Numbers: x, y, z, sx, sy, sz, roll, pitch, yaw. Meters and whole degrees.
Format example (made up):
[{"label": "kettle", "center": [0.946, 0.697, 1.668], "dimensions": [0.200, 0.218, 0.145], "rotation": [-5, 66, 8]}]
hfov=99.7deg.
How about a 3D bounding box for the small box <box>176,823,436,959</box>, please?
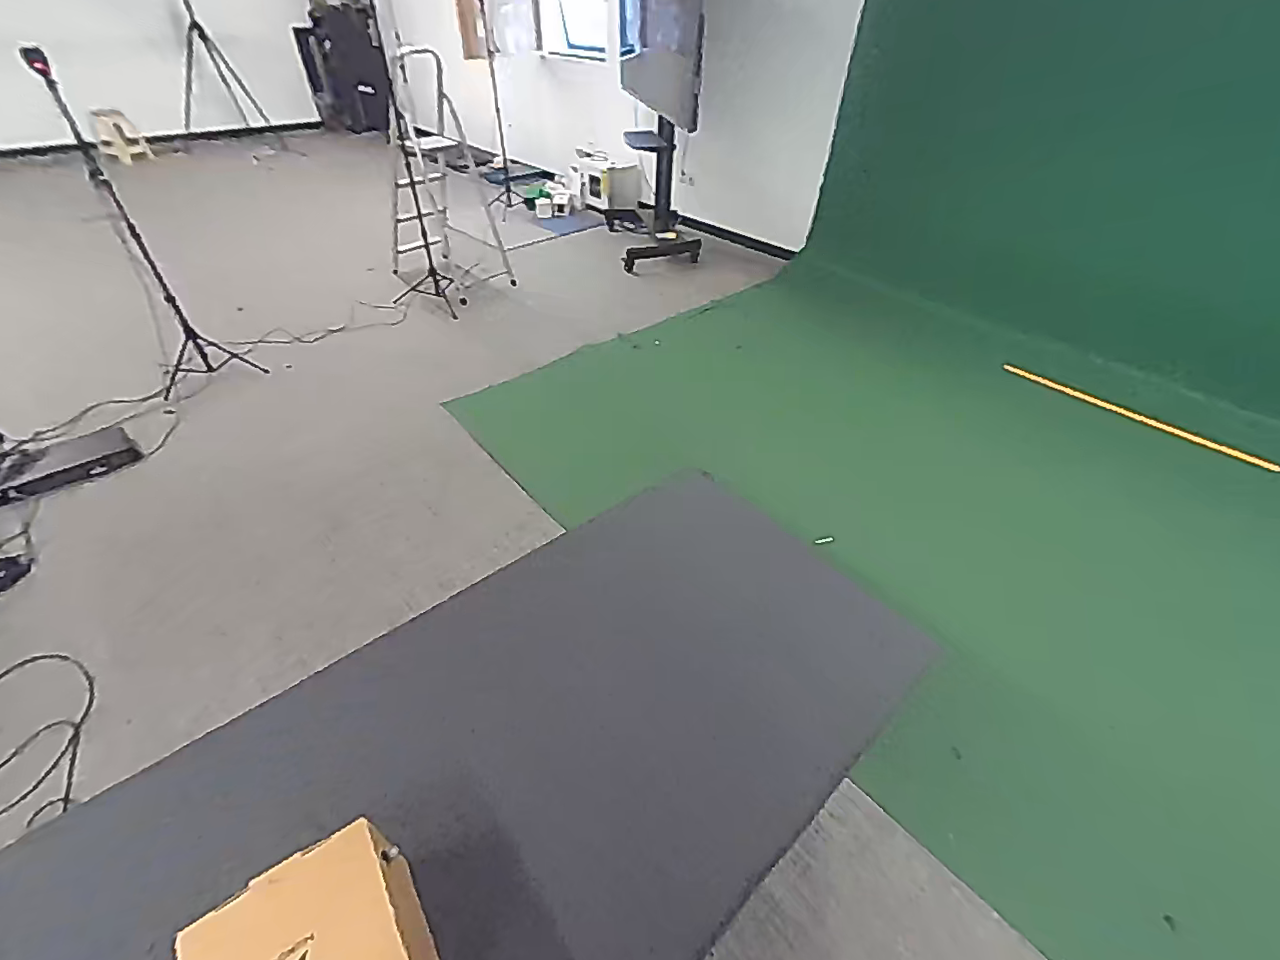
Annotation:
[{"label": "small box", "center": [-0.304, 0.489, 0.524], "dimensions": [0.168, 0.176, 0.179], "rotation": [-25, 47, -28]}]
